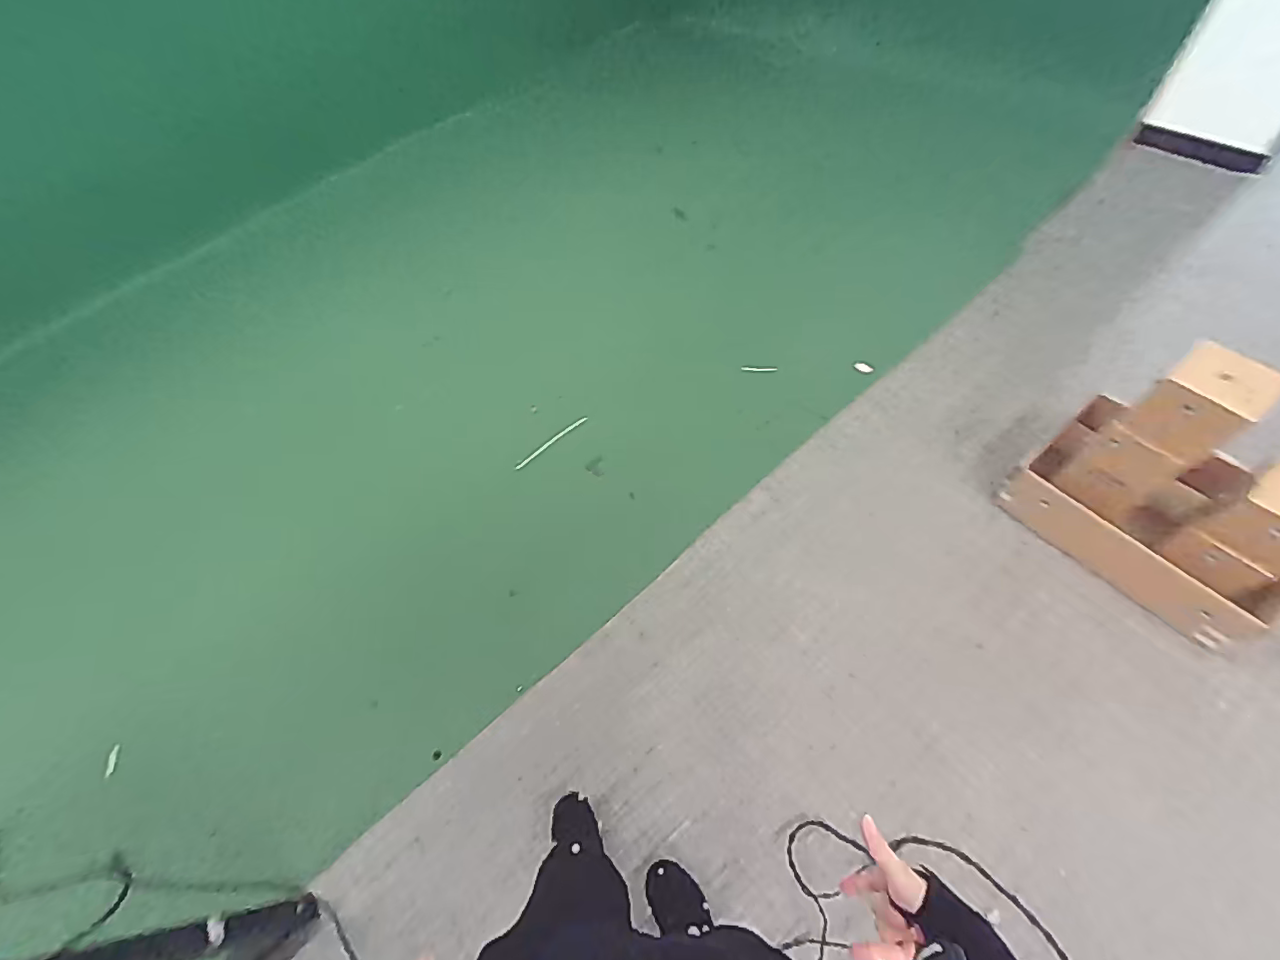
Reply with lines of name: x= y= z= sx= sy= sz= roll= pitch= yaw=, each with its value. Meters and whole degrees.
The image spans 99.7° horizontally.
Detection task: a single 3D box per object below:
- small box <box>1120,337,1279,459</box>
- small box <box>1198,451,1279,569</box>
small box: x=1.255 y=-0.181 z=1.220 sx=0.168 sy=0.176 sz=0.179 roll=-37 pitch=62 yaw=-14
small box: x=1.457 y=0.074 z=1.232 sx=0.168 sy=0.176 sz=0.179 roll=-41 pitch=62 yaw=-14
